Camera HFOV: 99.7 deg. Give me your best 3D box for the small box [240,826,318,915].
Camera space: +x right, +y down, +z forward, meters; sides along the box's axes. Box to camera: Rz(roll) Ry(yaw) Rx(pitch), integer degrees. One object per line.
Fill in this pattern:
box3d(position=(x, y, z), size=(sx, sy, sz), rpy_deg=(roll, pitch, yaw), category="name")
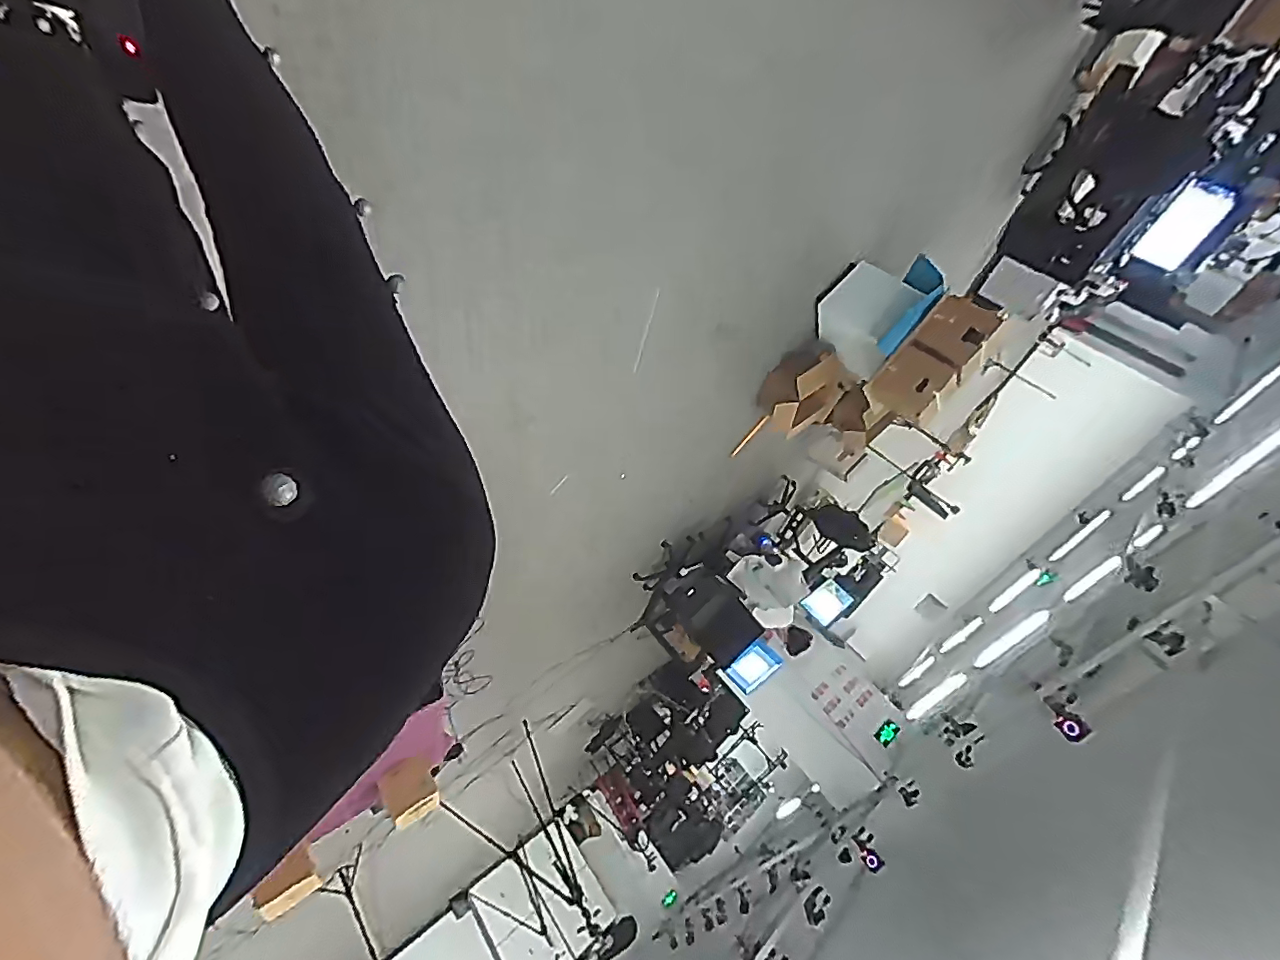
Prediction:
box3d(position=(-1.213, 1.309, 1.821), size=(0.168, 0.176, 0.179), rpy_deg=(-22, 145, -38), category="small box")
